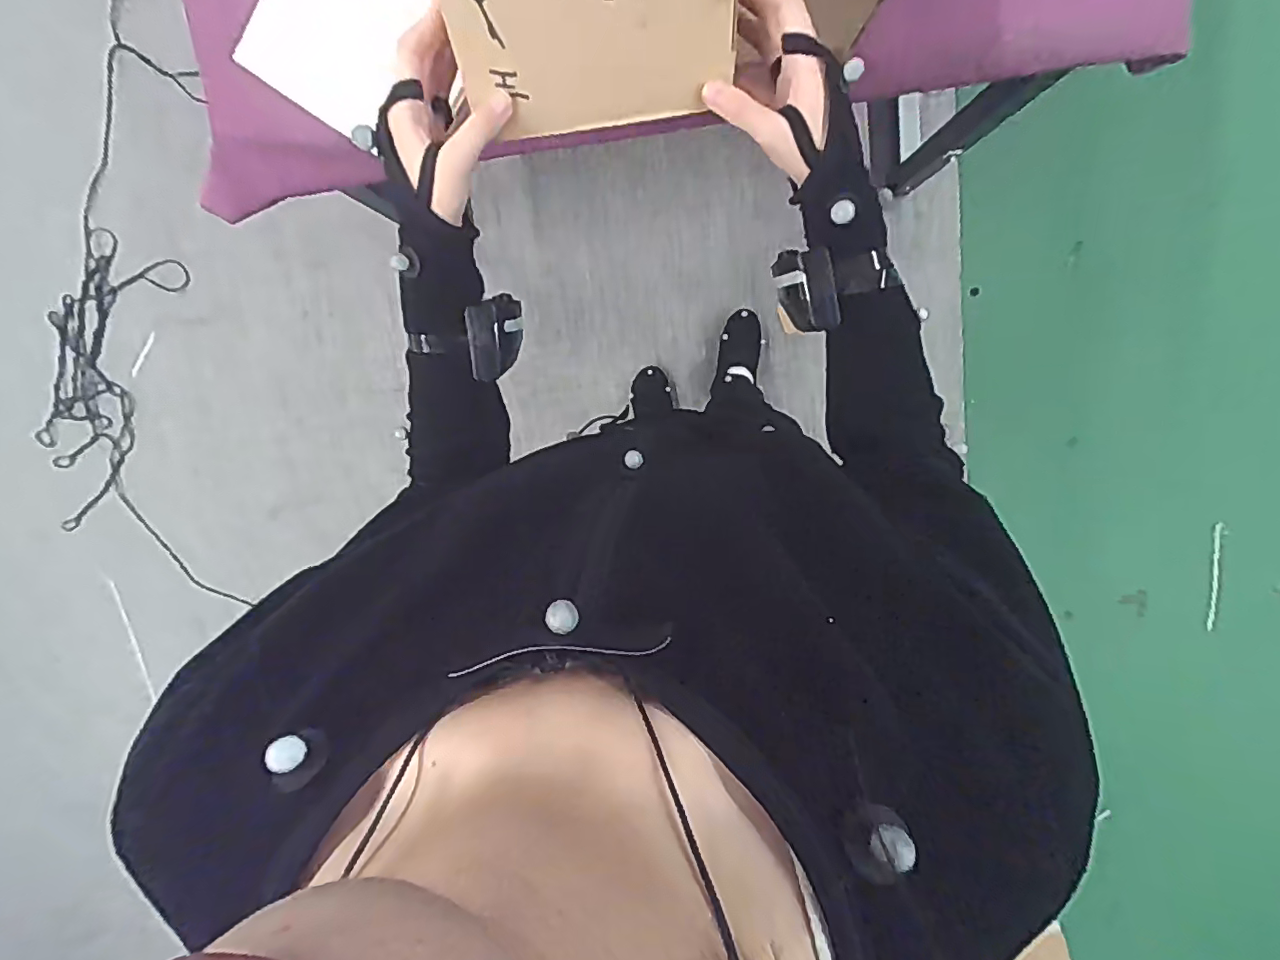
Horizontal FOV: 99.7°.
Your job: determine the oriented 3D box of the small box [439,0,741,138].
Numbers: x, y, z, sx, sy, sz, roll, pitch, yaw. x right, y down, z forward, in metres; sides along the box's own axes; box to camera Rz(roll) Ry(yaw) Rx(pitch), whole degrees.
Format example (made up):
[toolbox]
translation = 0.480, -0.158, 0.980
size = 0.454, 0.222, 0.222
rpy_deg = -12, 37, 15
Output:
[small box]
translation = -0.039, -0.352, 0.342
size = 0.179, 0.168, 0.176
rpy_deg = -9, 55, -2
